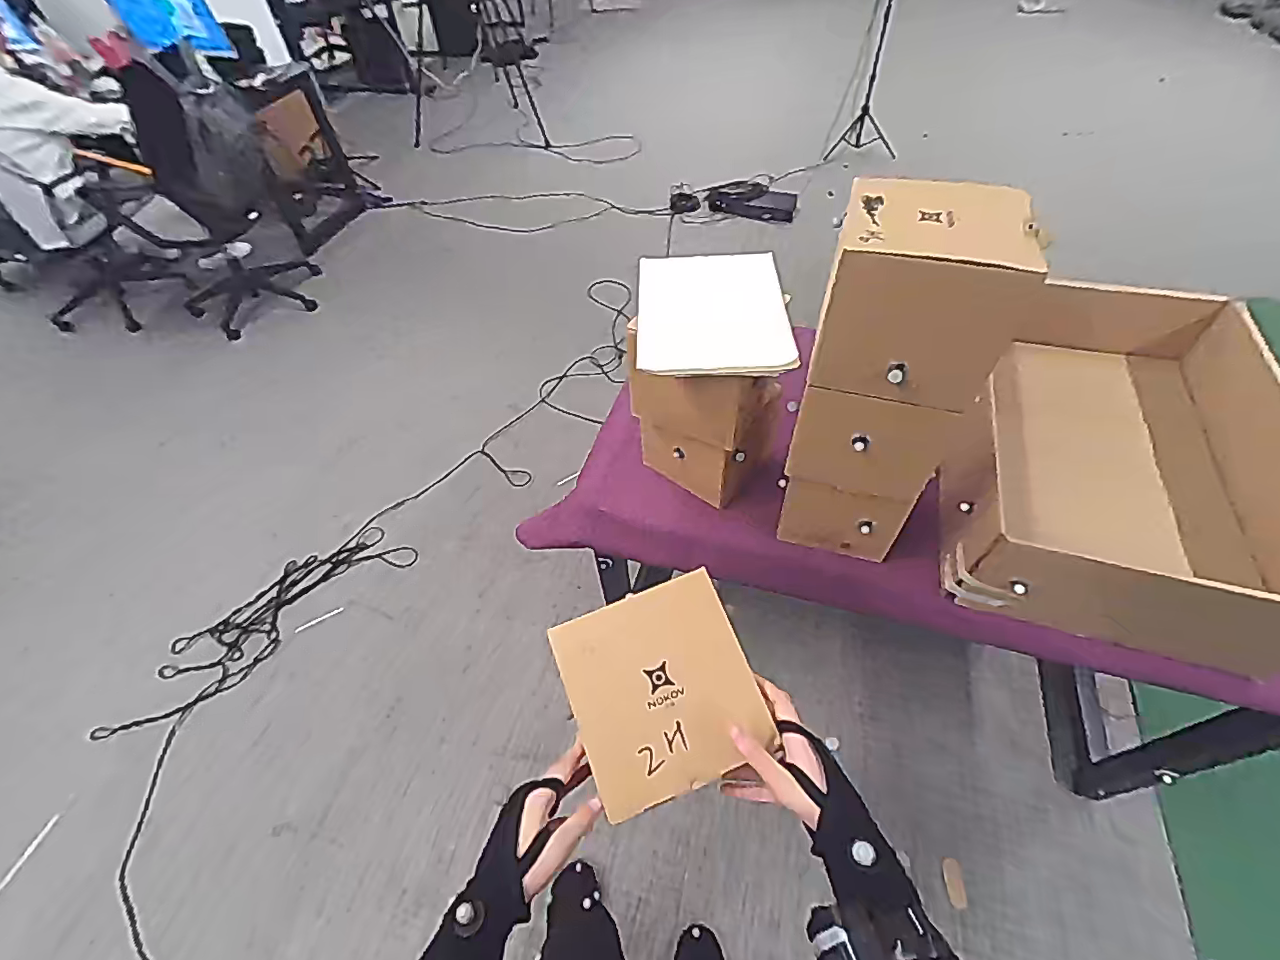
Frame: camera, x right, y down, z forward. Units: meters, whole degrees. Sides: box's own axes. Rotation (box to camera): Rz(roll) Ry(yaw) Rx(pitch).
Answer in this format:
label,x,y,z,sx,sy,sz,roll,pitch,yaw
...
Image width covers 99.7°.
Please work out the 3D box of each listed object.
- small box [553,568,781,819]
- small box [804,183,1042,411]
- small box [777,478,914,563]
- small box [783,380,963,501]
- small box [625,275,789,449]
label,x,y,z,sx,sy,sz,roll,pitch,yaw
small box,0.020,0.215,0.565,0.168,0.176,0.179,-19,71,-7
small box,0.295,-0.198,0.596,0.179,0.176,0.168,13,51,13
small box,0.320,0.005,0.852,0.168,0.176,0.179,13,51,13
small box,0.303,-0.093,0.723,0.179,0.176,0.168,13,52,14
small box,0.099,-0.171,0.804,0.179,0.176,0.168,23,56,21
